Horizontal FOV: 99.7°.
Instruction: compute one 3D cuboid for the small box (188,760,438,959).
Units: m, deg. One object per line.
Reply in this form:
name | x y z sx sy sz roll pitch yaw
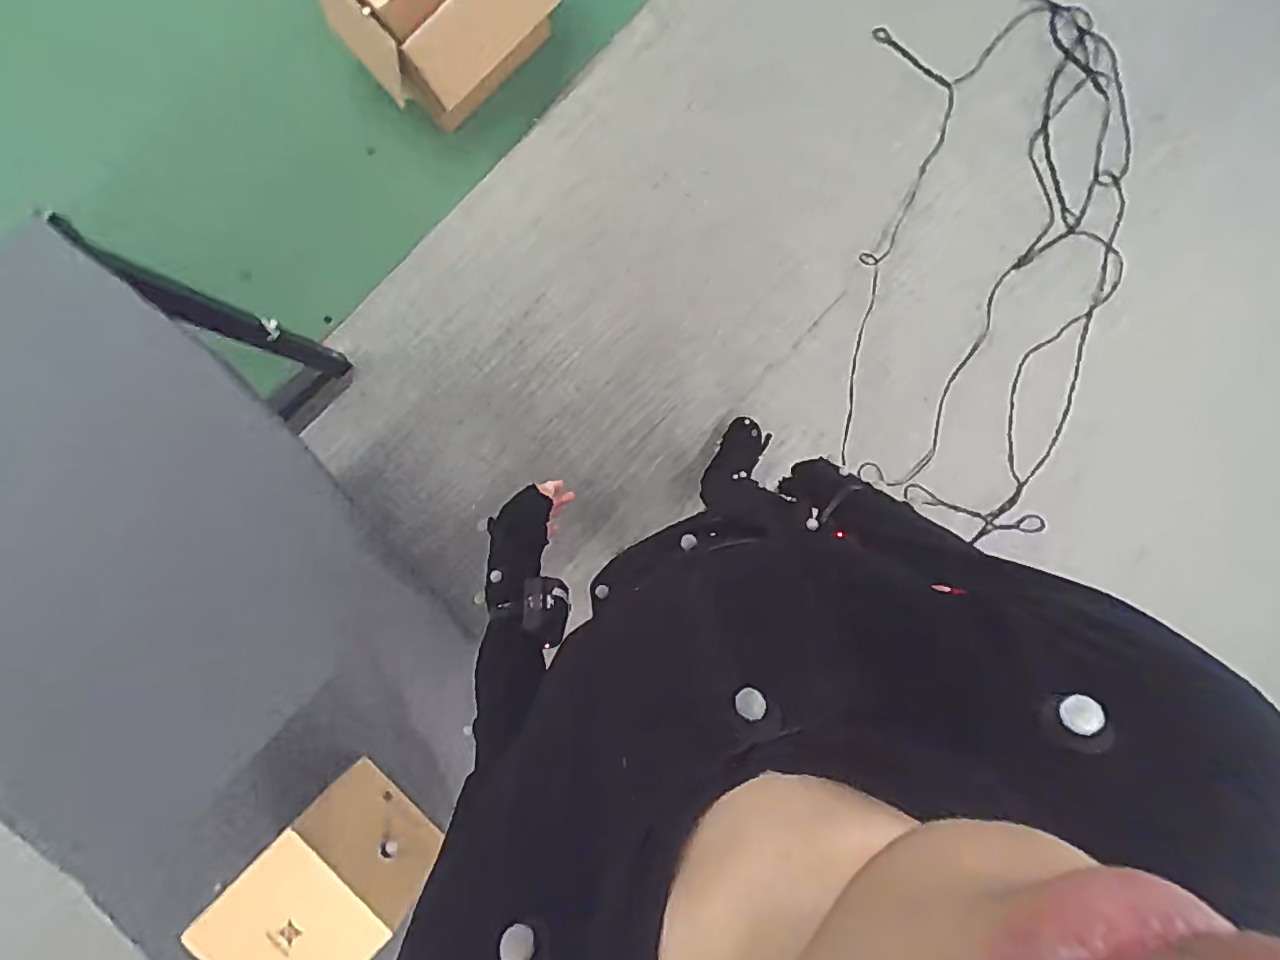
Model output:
small box | -0.380 0.497 0.672 0.168 0.176 0.179 44 91 1
